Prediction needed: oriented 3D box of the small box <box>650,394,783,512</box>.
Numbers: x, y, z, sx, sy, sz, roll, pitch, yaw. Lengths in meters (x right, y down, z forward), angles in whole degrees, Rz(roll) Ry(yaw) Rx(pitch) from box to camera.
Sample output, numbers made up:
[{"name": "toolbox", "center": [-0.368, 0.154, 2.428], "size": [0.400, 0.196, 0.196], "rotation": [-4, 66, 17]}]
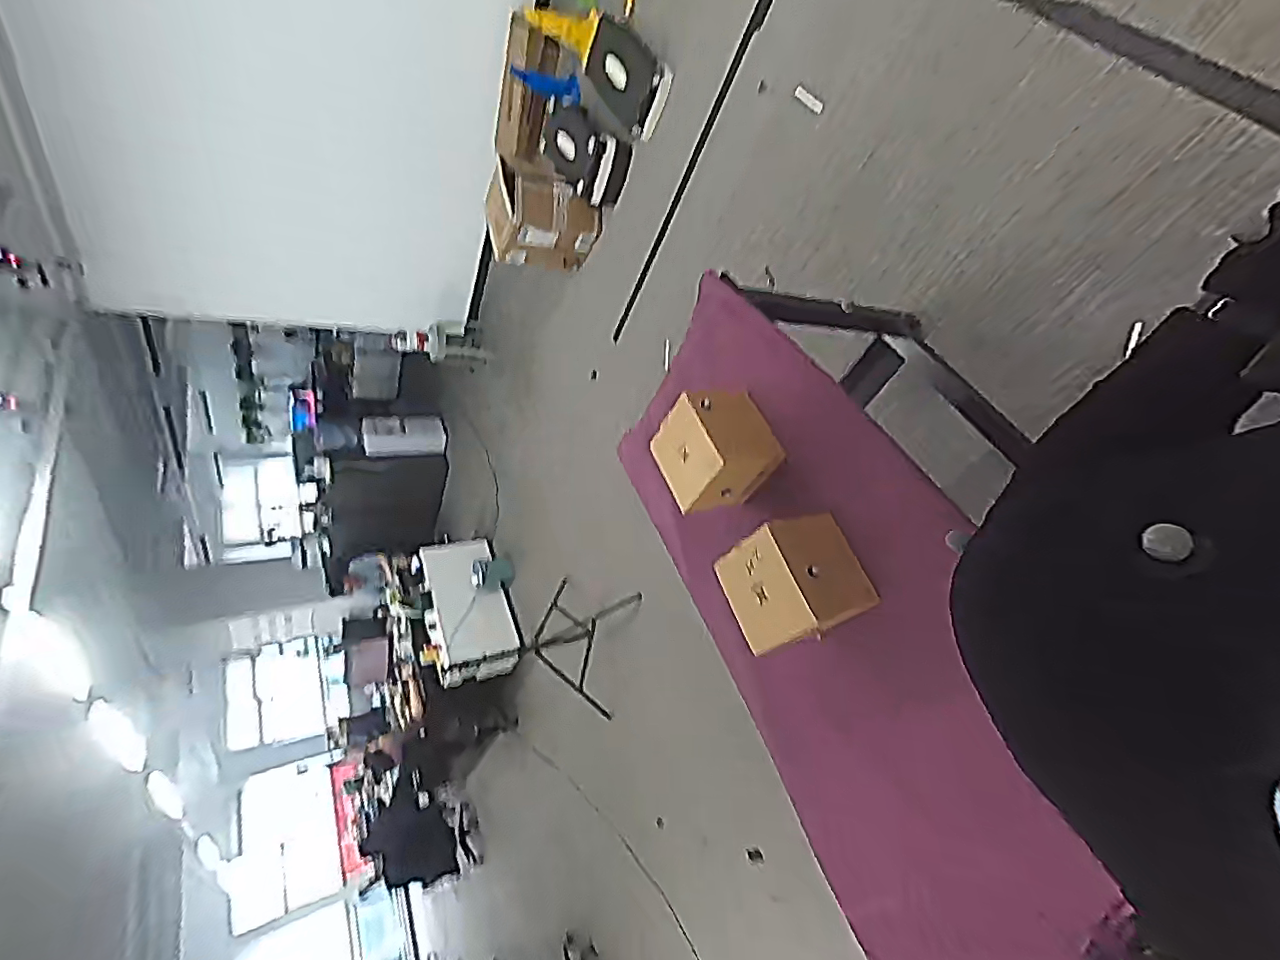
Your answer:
[{"name": "small box", "center": [0.151, -0.059, 1.083], "size": [0.168, 0.176, 0.179], "rotation": [-57, 49, 45]}]

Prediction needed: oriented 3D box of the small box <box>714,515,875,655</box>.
[{"name": "small box", "center": [0.267, 0.178, 0.941], "size": [0.168, 0.176, 0.179], "rotation": [-51, 53, 46]}]
